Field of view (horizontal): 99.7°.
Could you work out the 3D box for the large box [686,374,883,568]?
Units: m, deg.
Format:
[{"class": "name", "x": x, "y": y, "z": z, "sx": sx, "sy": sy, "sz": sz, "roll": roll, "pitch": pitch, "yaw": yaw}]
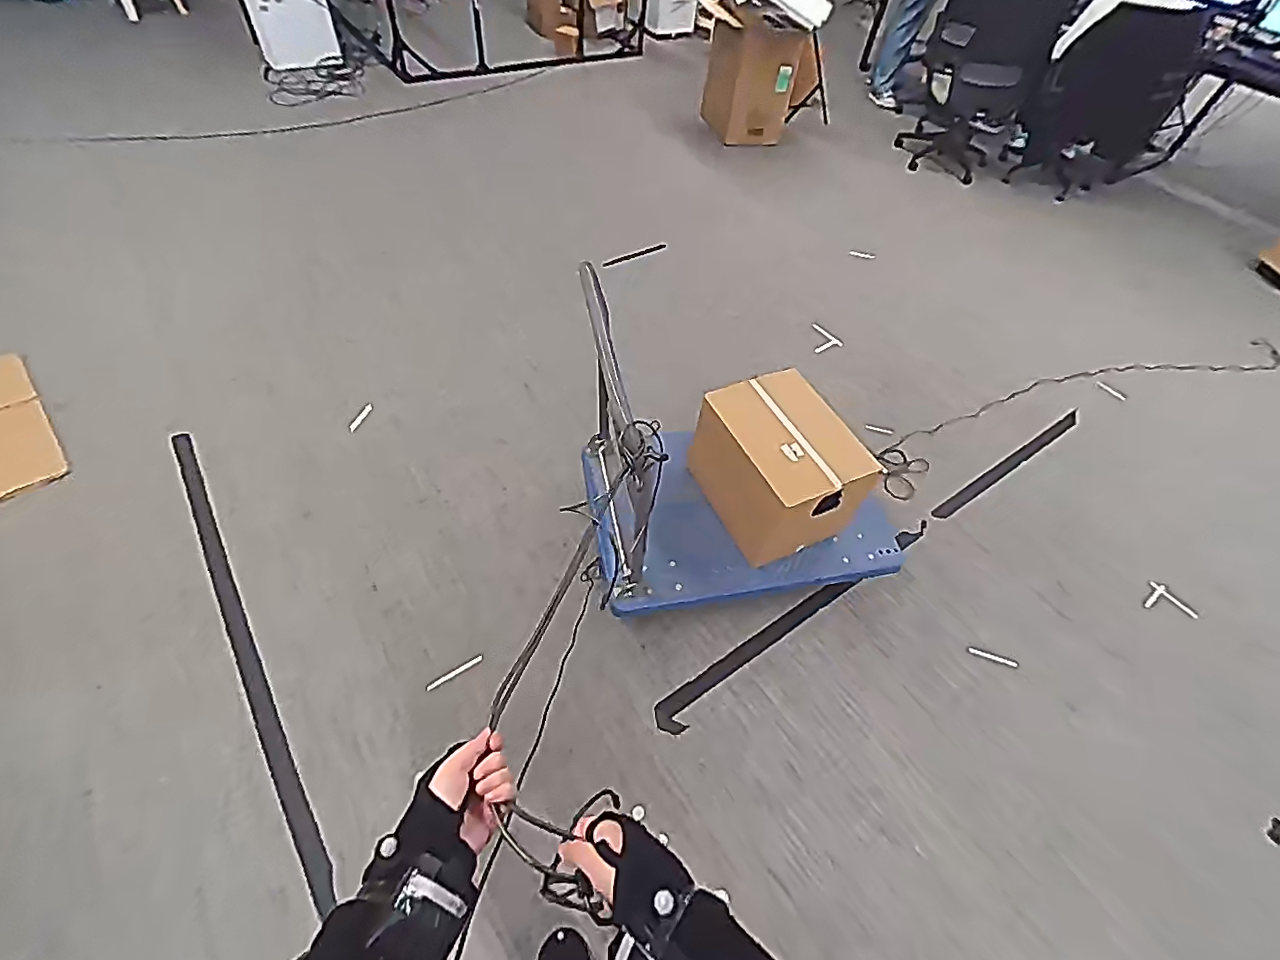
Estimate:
[{"class": "large box", "x": 0.378, "y": -0.030, "z": 1.532, "sx": 0.320, "sy": 0.320, "sz": 0.408, "roll": -19, "pitch": 58, "yaw": -19}]
